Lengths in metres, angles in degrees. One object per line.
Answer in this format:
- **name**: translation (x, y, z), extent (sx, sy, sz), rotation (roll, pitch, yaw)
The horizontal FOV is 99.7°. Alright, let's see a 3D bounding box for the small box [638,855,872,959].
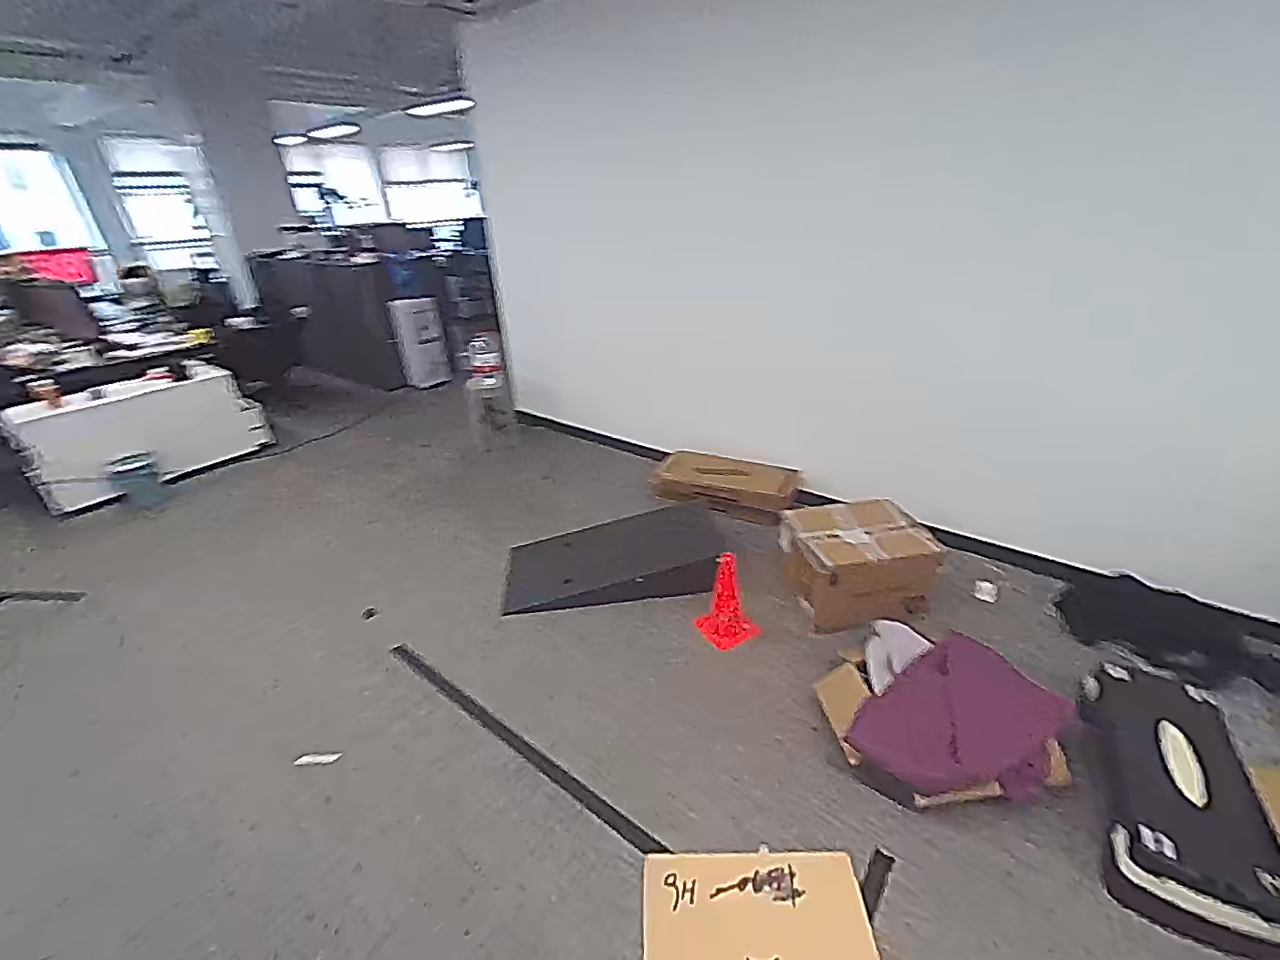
- **small box**: translation (0.084, 0.416, 0.402), extent (0.168, 0.176, 0.179), rotation (-2, 32, 0)
